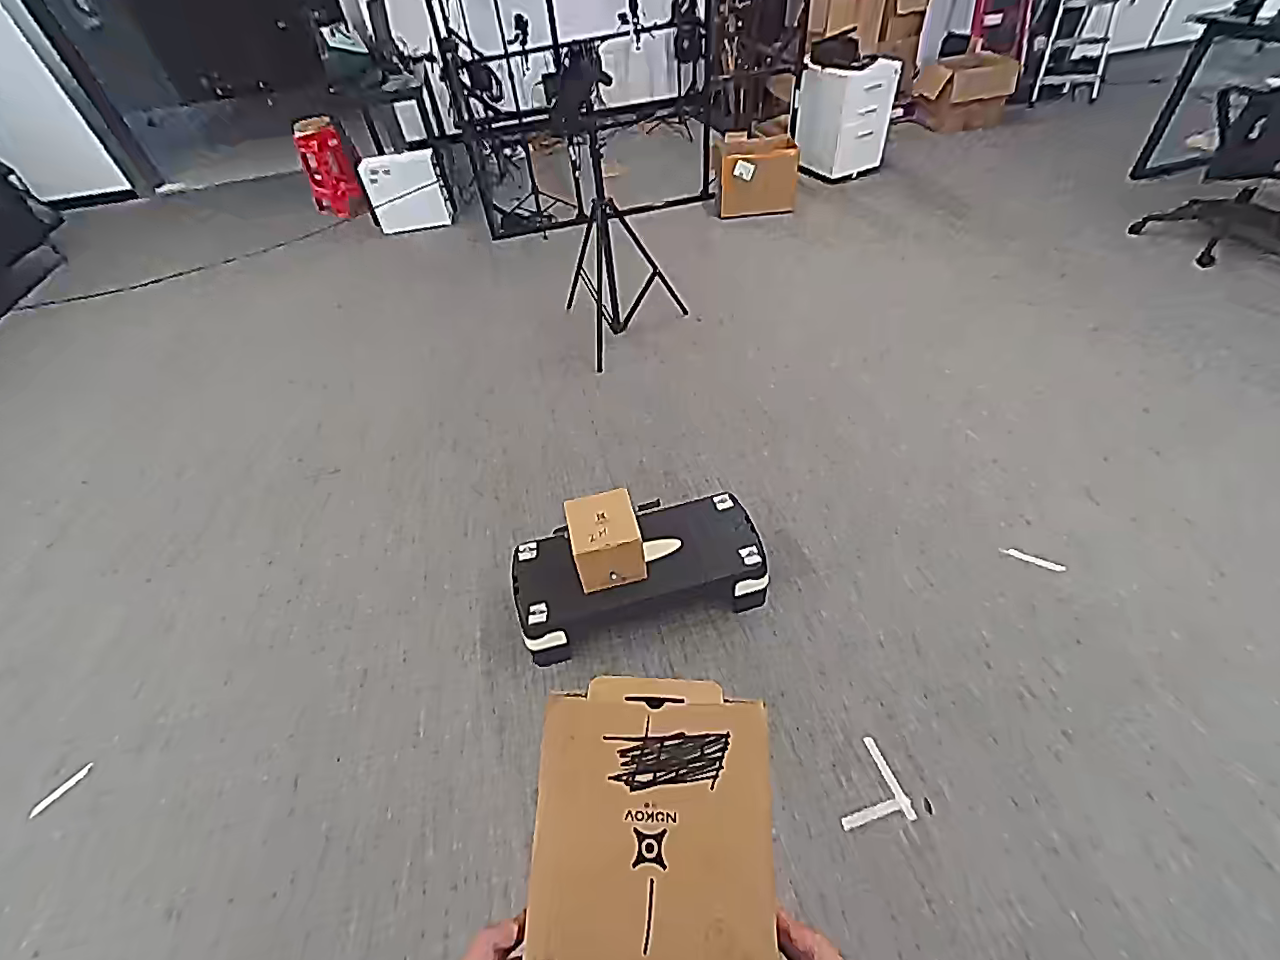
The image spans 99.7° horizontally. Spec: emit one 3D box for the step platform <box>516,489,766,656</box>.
[{"bbox_3d":[0.001,0.249,1.523,0.684,0.204,0.286,-15,46,-7],"label":"step platform"}]

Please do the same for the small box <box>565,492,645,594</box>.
[{"bbox_3d":[-0.089,0.161,1.377,0.168,0.176,0.179,-13,46,-5],"label":"small box"}]

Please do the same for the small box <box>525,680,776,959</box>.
[{"bbox_3d":[0.014,0.269,0.452,0.168,0.176,0.179,1,67,4],"label":"small box"}]
